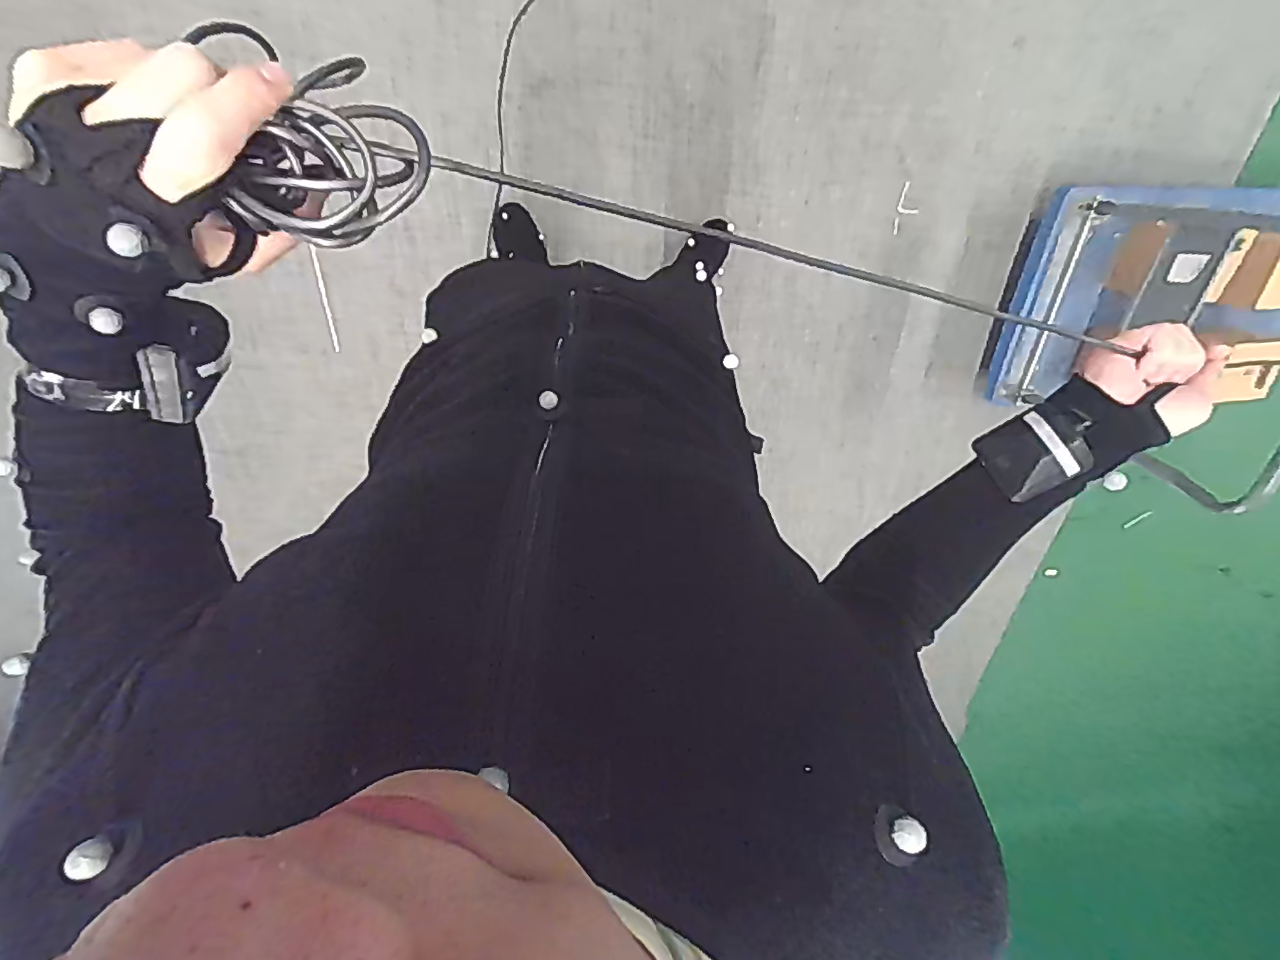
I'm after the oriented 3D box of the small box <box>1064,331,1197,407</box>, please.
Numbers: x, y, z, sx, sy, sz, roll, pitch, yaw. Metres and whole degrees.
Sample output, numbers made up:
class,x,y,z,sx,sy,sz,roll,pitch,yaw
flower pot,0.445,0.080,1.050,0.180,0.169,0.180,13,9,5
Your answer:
class,x,y,z,sx,sy,sz,roll,pitch,yaw
small box,1.338,-0.309,1.488,0.179,0.176,0.168,-1,120,-6

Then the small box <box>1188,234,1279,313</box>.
class,x,y,z,sx,sy,sz,roll,pitch,yaw
small box,1.595,-0.535,1.393,0.179,0.176,0.168,-5,121,-5

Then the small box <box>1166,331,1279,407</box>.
class,x,y,z,sx,sy,sz,roll,pitch,yaw
small box,1.606,-0.317,1.518,0.179,0.176,0.168,-5,119,-4
